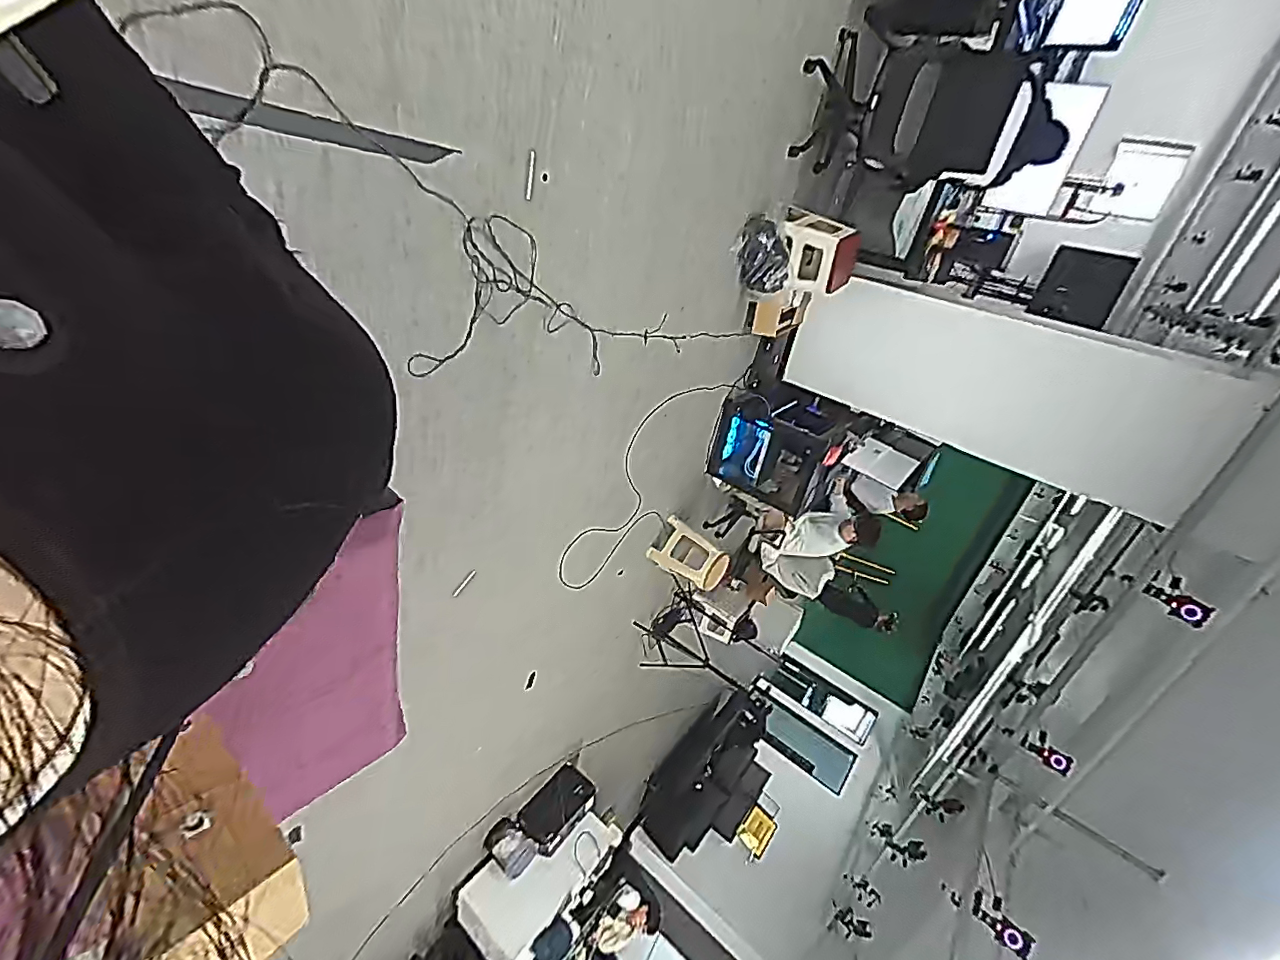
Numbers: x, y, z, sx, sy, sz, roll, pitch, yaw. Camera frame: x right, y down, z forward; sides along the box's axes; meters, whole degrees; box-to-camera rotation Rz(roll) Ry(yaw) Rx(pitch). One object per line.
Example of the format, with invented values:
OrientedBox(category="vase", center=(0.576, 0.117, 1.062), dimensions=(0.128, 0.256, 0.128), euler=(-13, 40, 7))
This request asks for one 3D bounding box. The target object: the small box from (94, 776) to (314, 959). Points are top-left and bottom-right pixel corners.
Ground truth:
OrientedBox(category="small box", center=(-0.554, 0.533, 0.700), dimensions=(0.168, 0.176, 0.179), euler=(-25, 135, -49))

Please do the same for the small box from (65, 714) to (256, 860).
OrientedBox(category="small box", center=(-0.681, 0.474, 0.784), dimensions=(0.168, 0.176, 0.179), euler=(-24, 135, -49))
